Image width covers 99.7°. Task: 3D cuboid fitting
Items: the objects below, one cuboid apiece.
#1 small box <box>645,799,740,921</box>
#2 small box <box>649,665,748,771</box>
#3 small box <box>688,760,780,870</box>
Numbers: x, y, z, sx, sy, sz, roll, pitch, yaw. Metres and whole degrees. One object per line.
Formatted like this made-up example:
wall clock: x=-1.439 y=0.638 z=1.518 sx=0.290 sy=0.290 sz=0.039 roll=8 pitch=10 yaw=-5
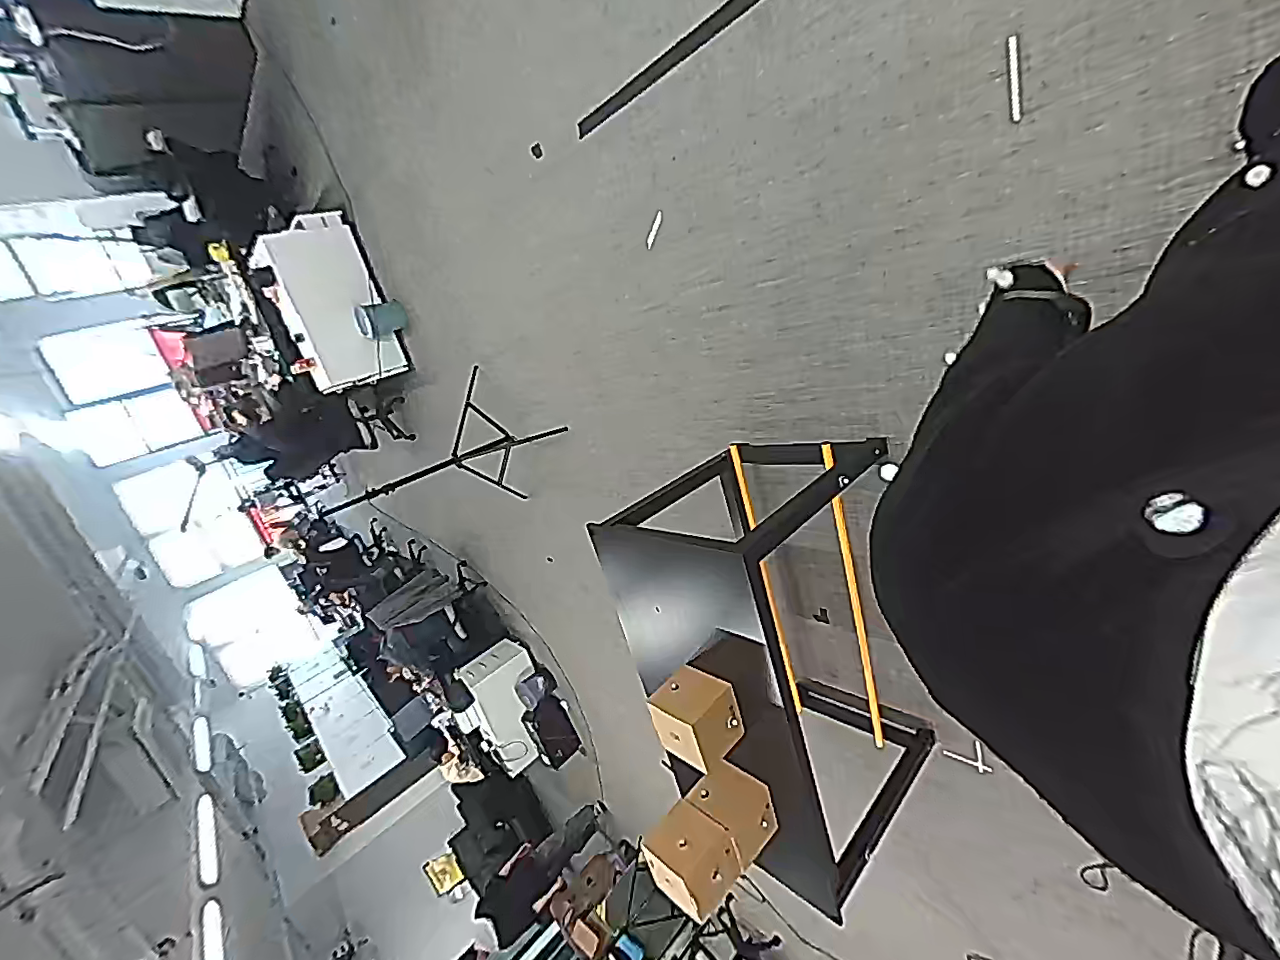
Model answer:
small box: x=0.148 y=1.008 z=1.453 sx=0.179 sy=0.176 sz=0.168 roll=2 pitch=115 yaw=50
small box: x=0.160 y=0.630 z=1.459 sx=0.179 sy=0.176 sz=0.168 roll=3 pitch=117 yaw=50
small box: x=0.270 y=0.939 z=1.539 sx=0.179 sy=0.176 sz=0.168 roll=6 pitch=119 yaw=49
